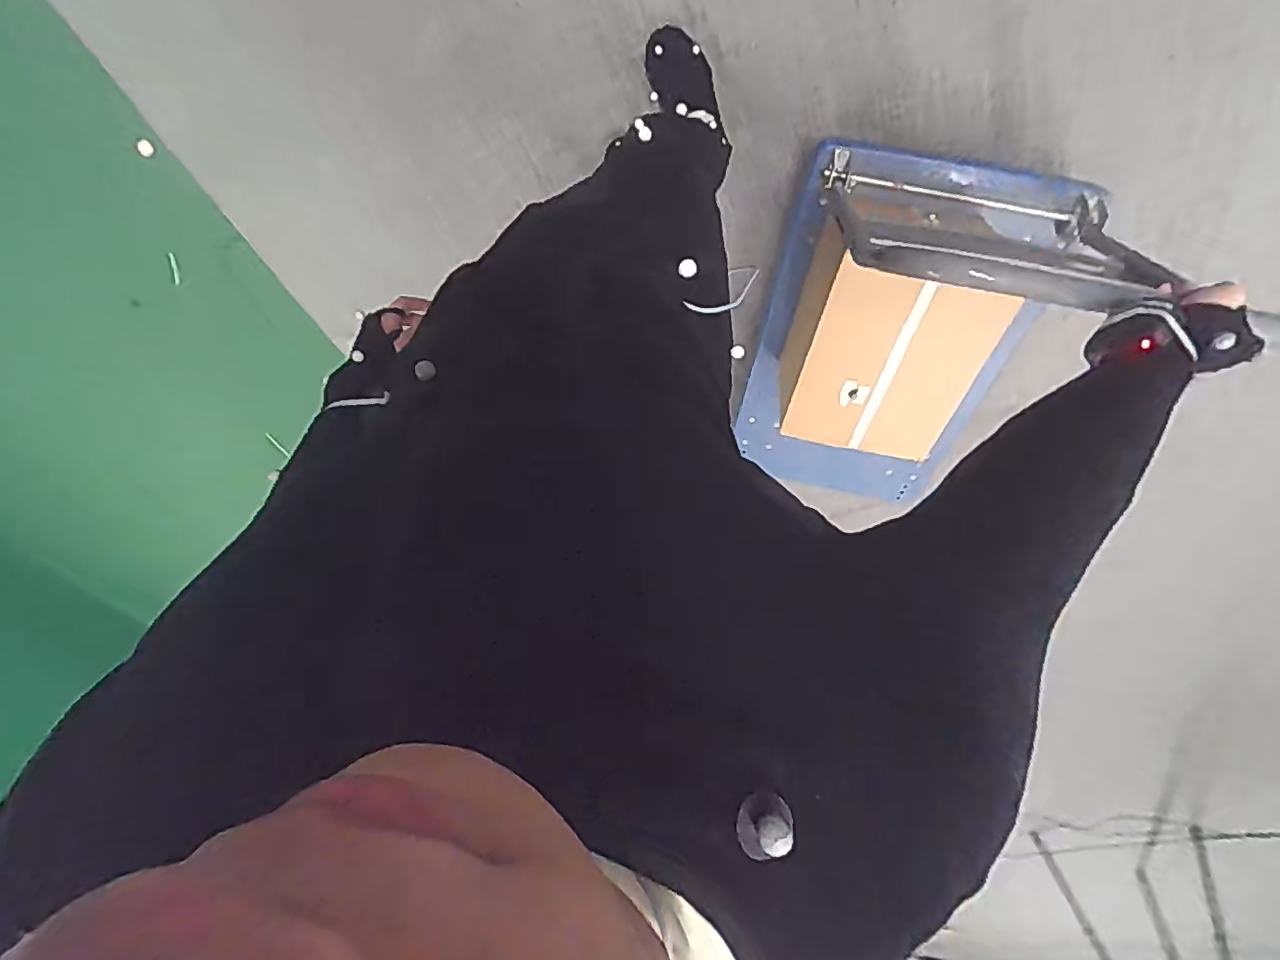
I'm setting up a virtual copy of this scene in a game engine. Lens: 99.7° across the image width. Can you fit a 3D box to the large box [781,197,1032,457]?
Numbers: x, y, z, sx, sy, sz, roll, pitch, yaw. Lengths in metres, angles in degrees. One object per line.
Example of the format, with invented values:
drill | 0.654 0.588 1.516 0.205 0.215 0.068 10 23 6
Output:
large box | 0.504 -0.319 1.135 0.320 0.320 0.408 13 134 3
